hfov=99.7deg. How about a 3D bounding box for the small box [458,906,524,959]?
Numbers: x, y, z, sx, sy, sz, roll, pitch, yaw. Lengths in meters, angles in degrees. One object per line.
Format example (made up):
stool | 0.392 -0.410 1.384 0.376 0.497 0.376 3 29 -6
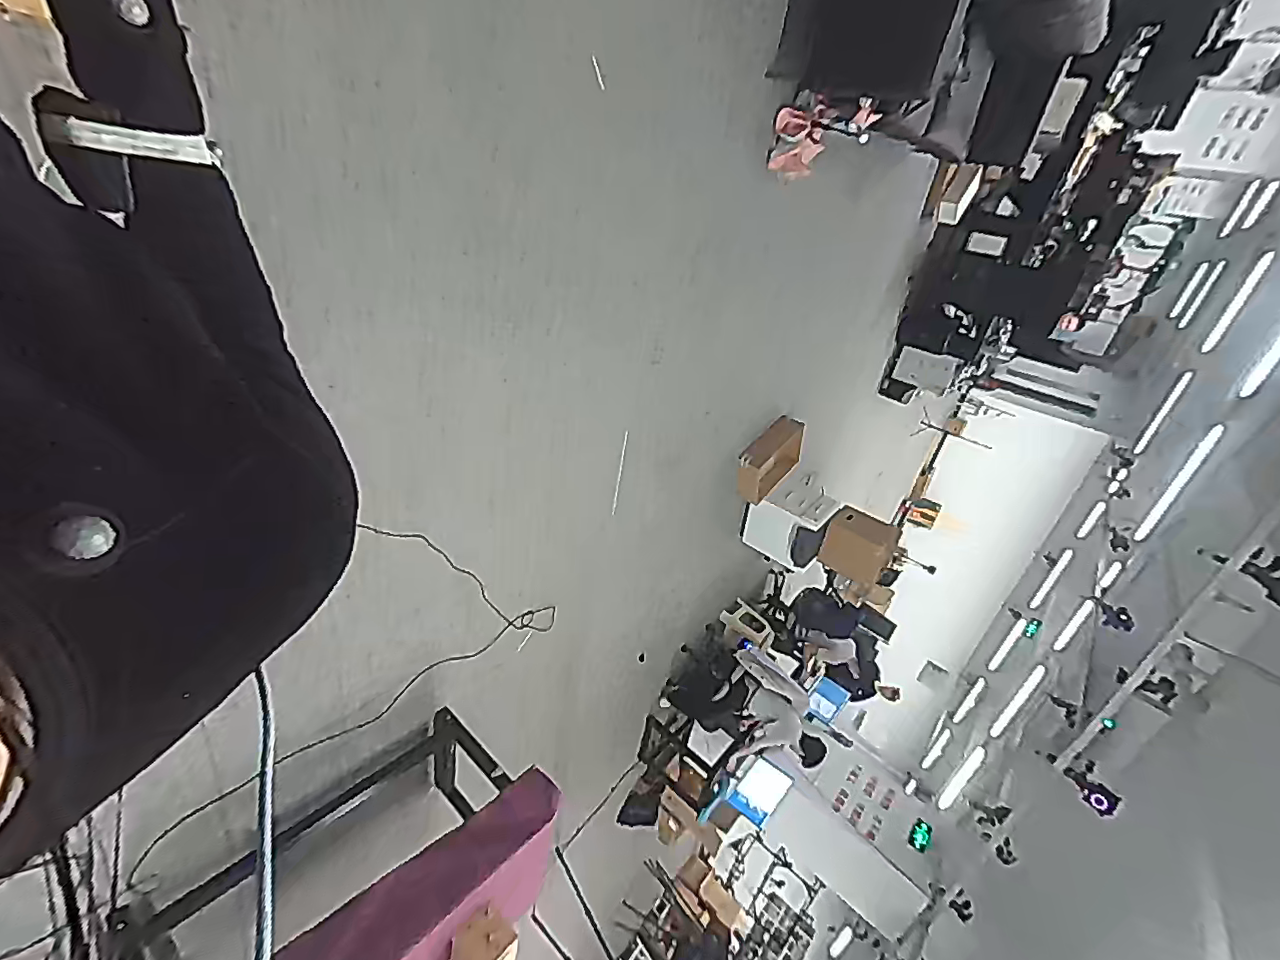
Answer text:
small box | -0.541 1.701 1.952 0.168 0.176 0.179 -21 132 -46

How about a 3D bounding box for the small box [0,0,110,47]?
small box | -0.937 -0.777 0.801 0.168 0.176 0.179 -20 132 -47
